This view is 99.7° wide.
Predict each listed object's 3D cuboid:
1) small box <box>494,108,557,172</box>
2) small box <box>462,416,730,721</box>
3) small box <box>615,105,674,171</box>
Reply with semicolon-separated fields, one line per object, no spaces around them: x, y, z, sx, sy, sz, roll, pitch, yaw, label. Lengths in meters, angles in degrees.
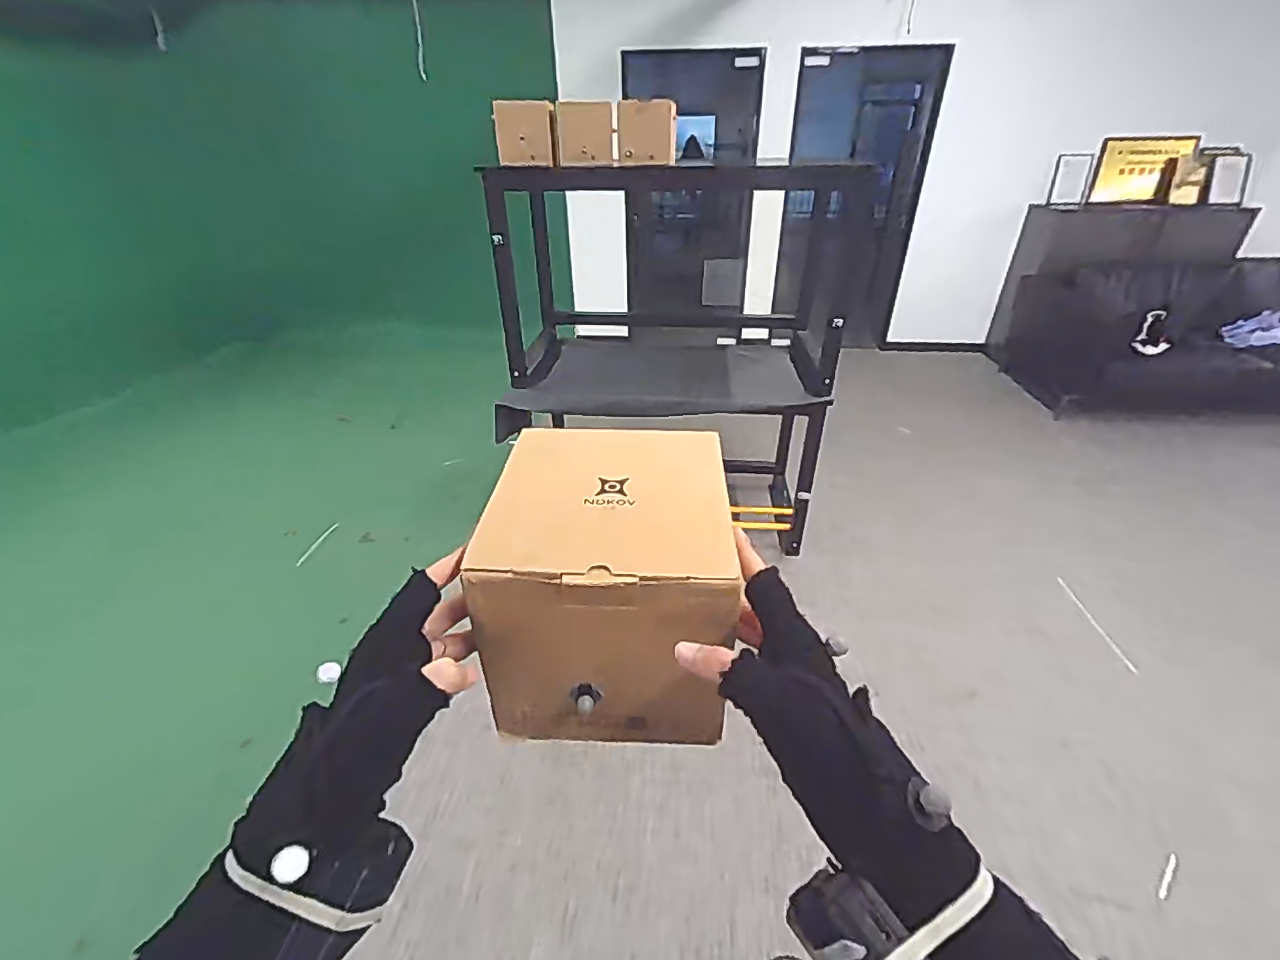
-0.362;-1.092;1.742;0.168;0.176;0.179;0;31;-2;small box
-0.024;0.062;0.434;0.168;0.176;0.179;1;33;2;small box
0.020;-1.082;1.717;0.168;0.176;0.179;3;31;7;small box
